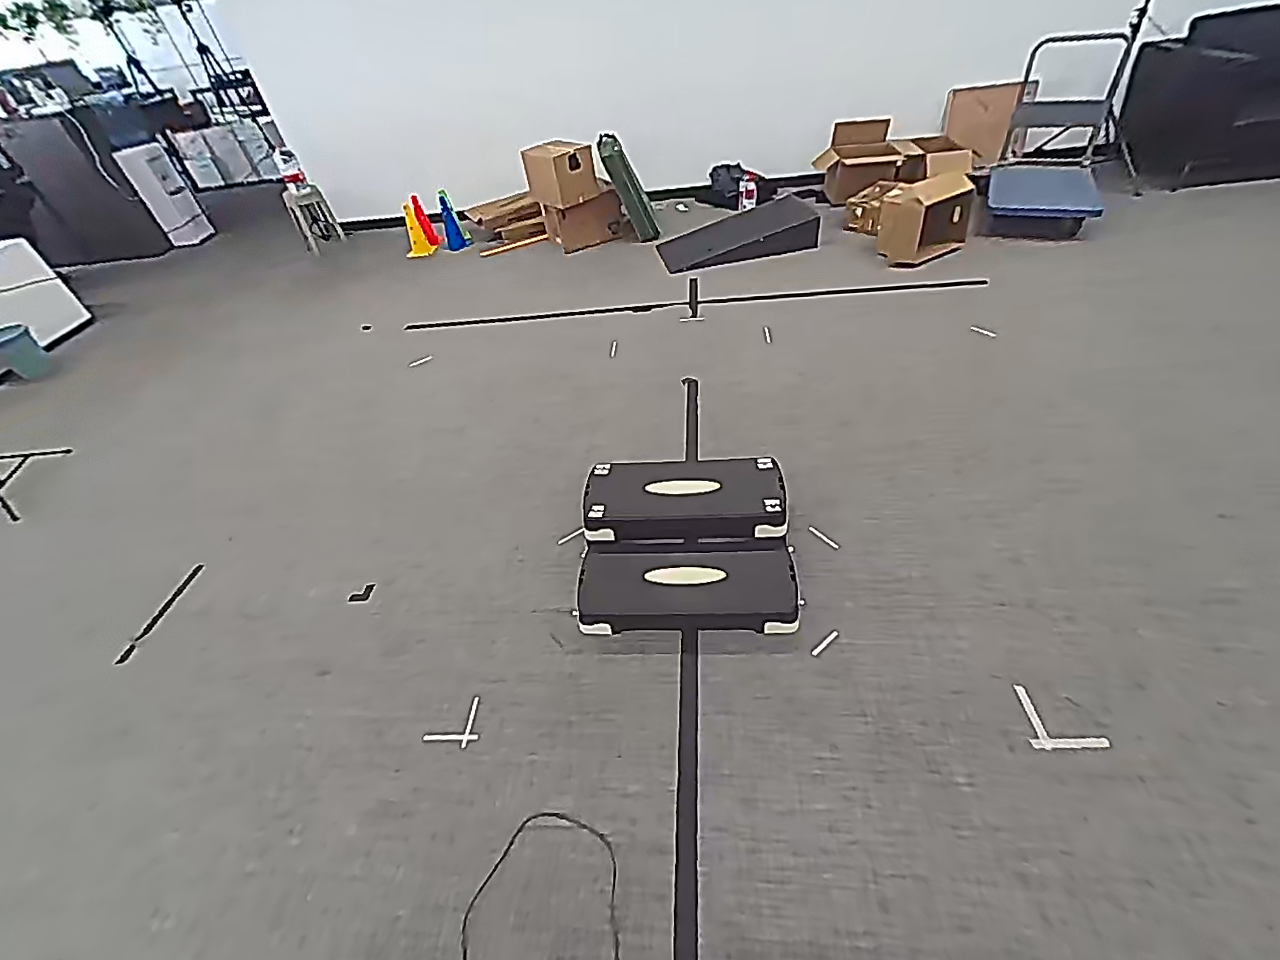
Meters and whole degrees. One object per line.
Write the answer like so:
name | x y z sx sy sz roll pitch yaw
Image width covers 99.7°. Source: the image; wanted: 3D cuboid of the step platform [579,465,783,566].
step platform | 0.134 0.117 1.842 0.684 0.204 0.286 -2 44 6
